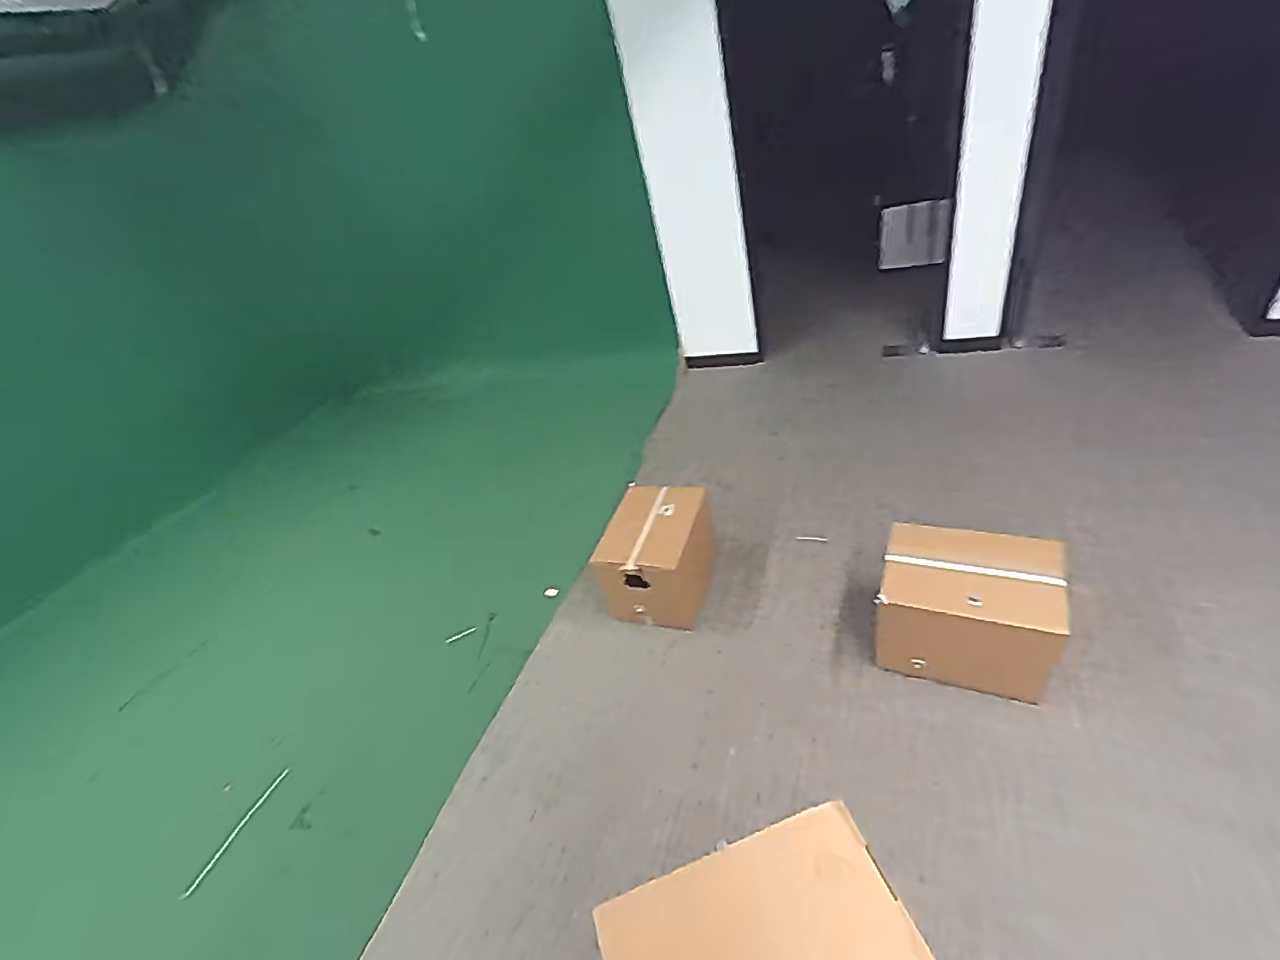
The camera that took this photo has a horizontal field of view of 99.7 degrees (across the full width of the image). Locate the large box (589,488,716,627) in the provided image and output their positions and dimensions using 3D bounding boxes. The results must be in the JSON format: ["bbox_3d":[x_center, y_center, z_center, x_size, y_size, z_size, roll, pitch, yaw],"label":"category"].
[{"bbox_3d":[0.064,0.274,1.969,0.320,0.320,0.408,1,39,24],"label":"large box"}]
